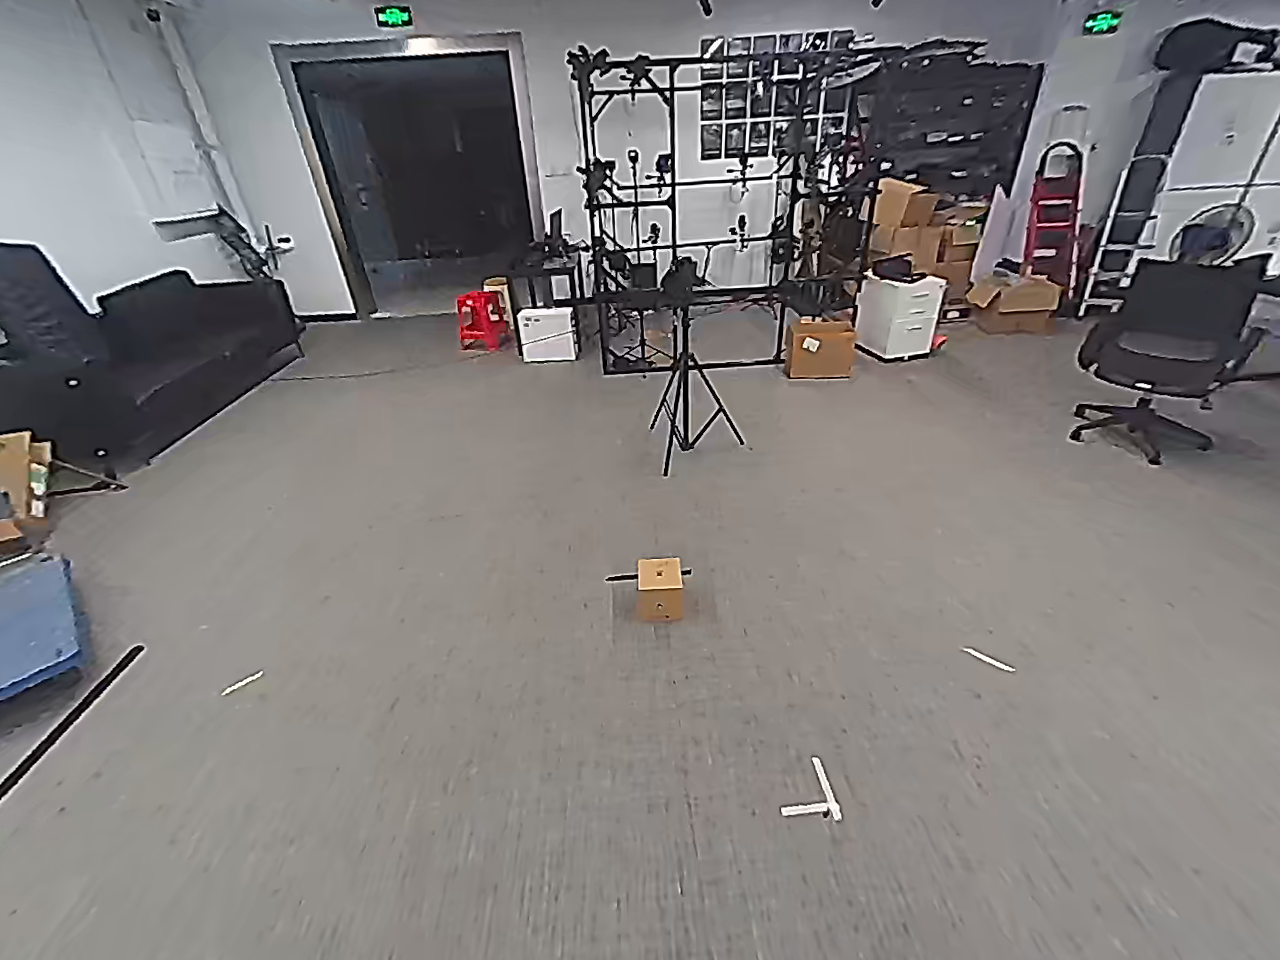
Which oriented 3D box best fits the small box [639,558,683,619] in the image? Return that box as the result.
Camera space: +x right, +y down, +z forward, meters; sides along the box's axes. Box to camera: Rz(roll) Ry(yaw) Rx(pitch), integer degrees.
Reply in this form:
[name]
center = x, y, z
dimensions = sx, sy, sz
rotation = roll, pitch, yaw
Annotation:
[small box]
center = 0.082, 0.427, 2.107
dimensions = 0.168, 0.176, 0.179
rotation = -3, 31, 1
